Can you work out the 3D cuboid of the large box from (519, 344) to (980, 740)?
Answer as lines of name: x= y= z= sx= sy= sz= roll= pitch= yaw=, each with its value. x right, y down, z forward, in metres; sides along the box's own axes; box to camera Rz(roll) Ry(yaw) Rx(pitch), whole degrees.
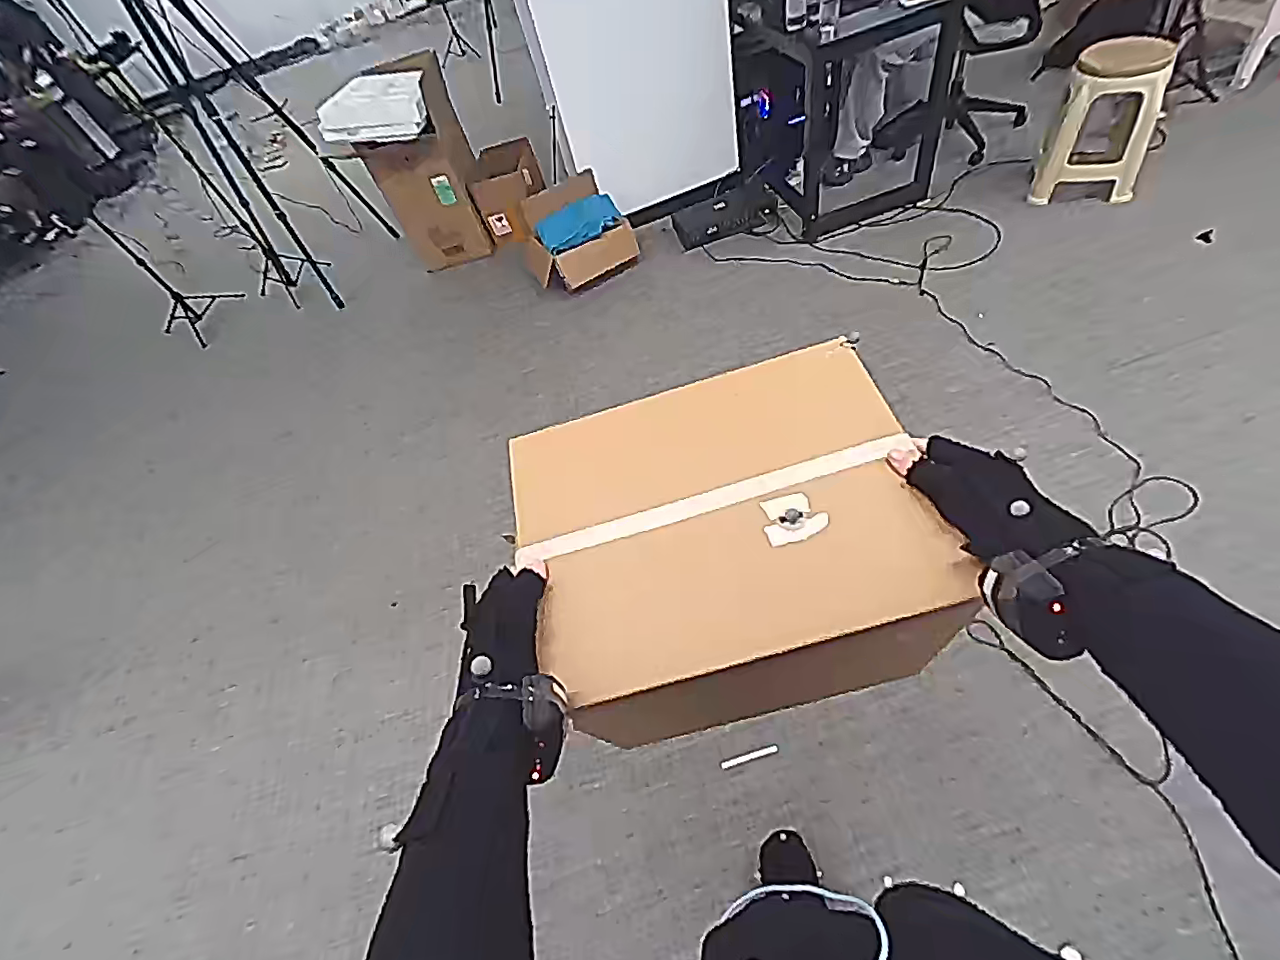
large box: x=0.104 y=0.098 z=0.680 sx=0.408 sy=0.320 sz=0.320 roll=-16 pitch=57 yaw=3
